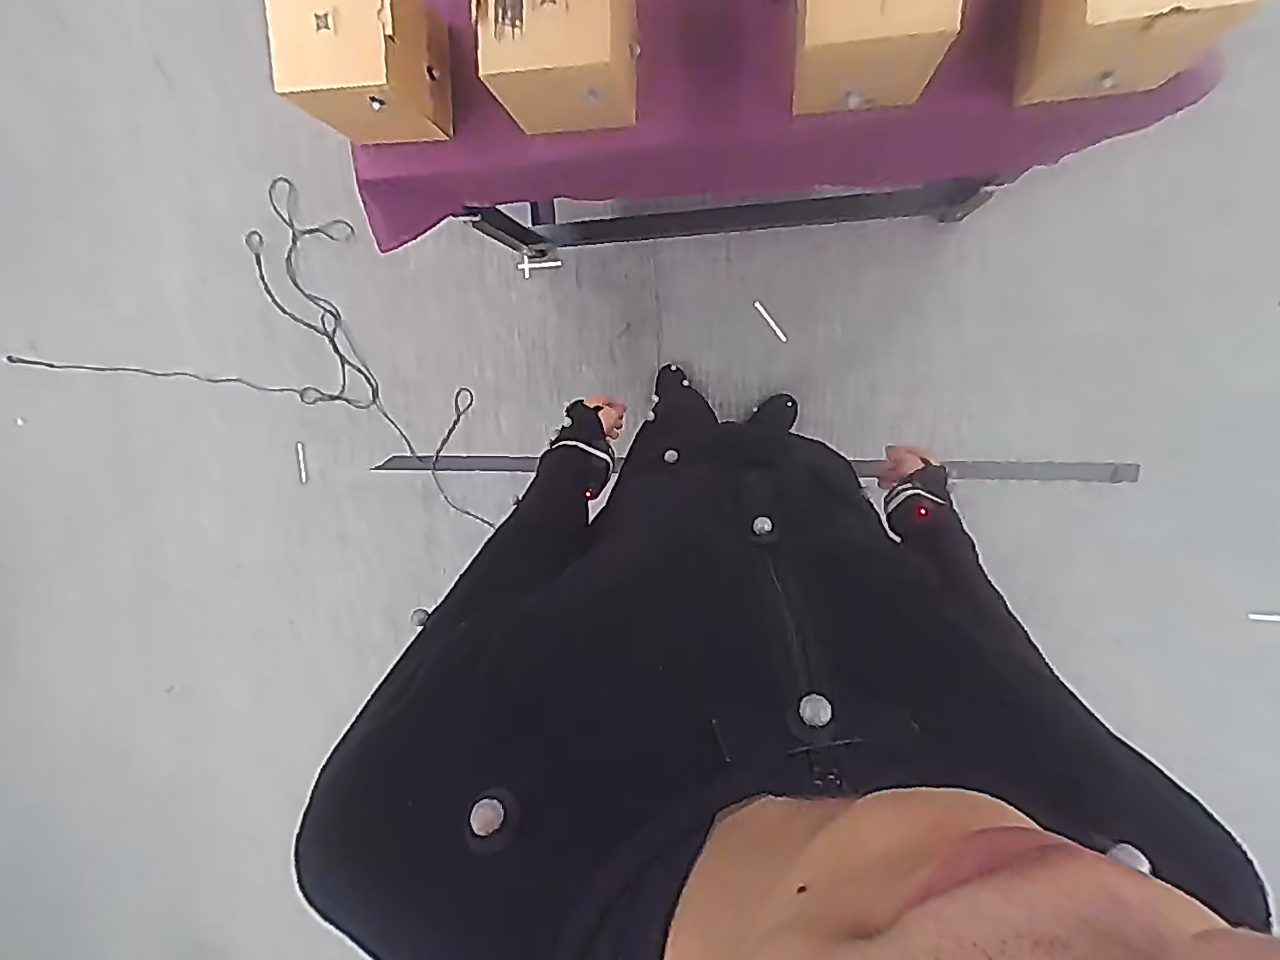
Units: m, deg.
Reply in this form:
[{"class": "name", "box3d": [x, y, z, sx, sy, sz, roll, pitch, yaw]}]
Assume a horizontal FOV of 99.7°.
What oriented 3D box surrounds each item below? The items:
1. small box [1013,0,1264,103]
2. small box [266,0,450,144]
[{"class": "small box", "box3d": [0.554, -0.572, 0.613, 0.168, 0.176, 0.179, 1, 100, 12]}, {"class": "small box", "box3d": [-0.402, -0.616, 0.792, 0.179, 0.176, 0.168, 2, 100, 9]}]
